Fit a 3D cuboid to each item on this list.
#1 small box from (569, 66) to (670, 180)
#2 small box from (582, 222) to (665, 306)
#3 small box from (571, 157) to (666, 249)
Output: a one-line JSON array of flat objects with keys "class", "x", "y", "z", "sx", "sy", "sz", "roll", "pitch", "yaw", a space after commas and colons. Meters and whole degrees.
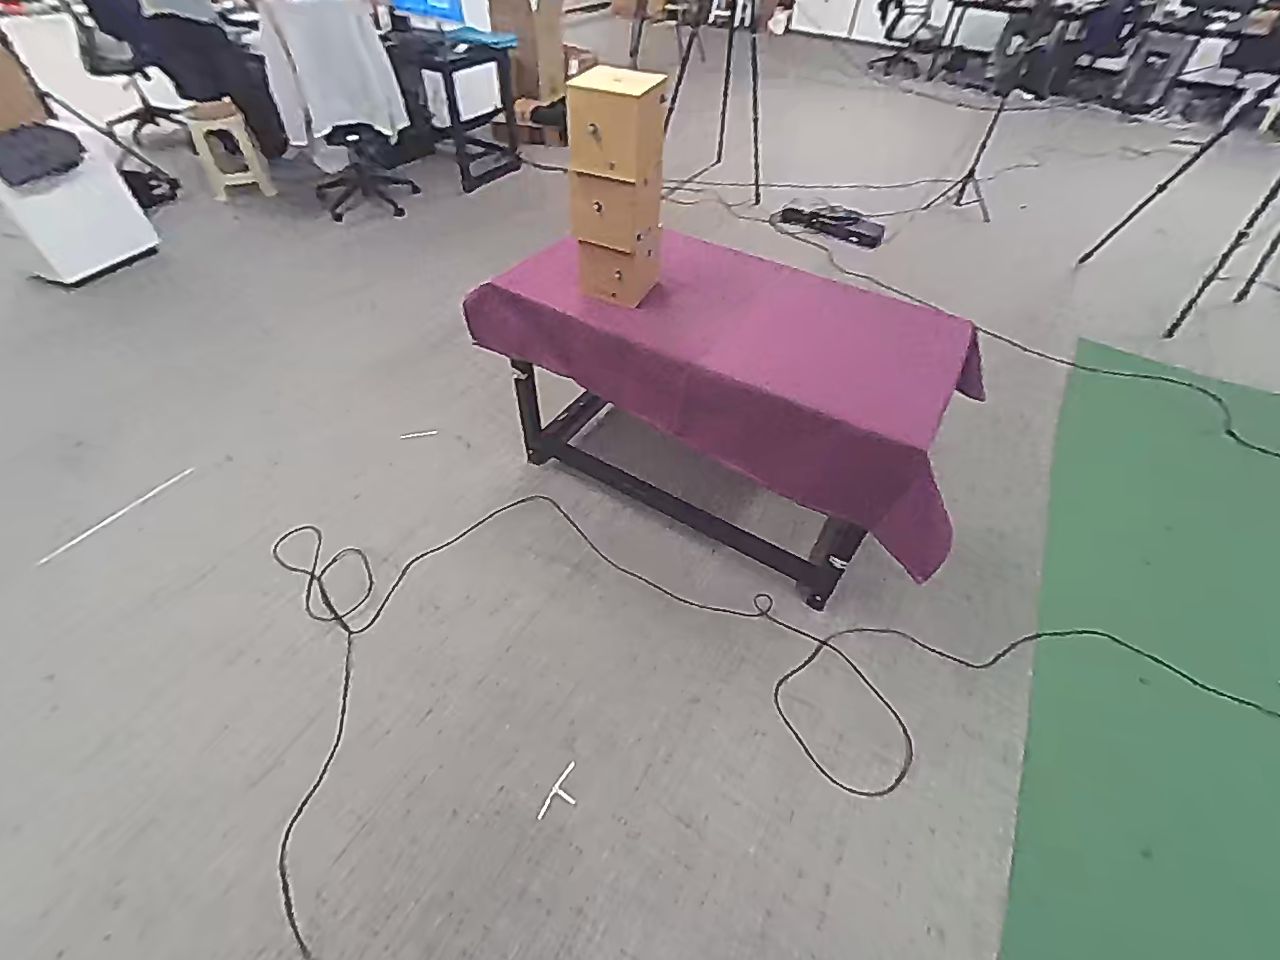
[{"class": "small box", "x": -0.041, "y": -0.788, "z": 1.196, "sx": 0.168, "sy": 0.176, "sz": 0.179, "roll": 18, "pitch": 50, "yaw": 12}, {"class": "small box", "x": -0.043, "y": -0.598, "z": 1.464, "sx": 0.168, "sy": 0.176, "sz": 0.179, "roll": 21, "pitch": 50, "yaw": 14}, {"class": "small box", "x": -0.051, "y": -0.691, "z": 1.327, "sx": 0.179, "sy": 0.176, "sz": 0.168, "roll": 21, "pitch": 51, "yaw": 15}]
